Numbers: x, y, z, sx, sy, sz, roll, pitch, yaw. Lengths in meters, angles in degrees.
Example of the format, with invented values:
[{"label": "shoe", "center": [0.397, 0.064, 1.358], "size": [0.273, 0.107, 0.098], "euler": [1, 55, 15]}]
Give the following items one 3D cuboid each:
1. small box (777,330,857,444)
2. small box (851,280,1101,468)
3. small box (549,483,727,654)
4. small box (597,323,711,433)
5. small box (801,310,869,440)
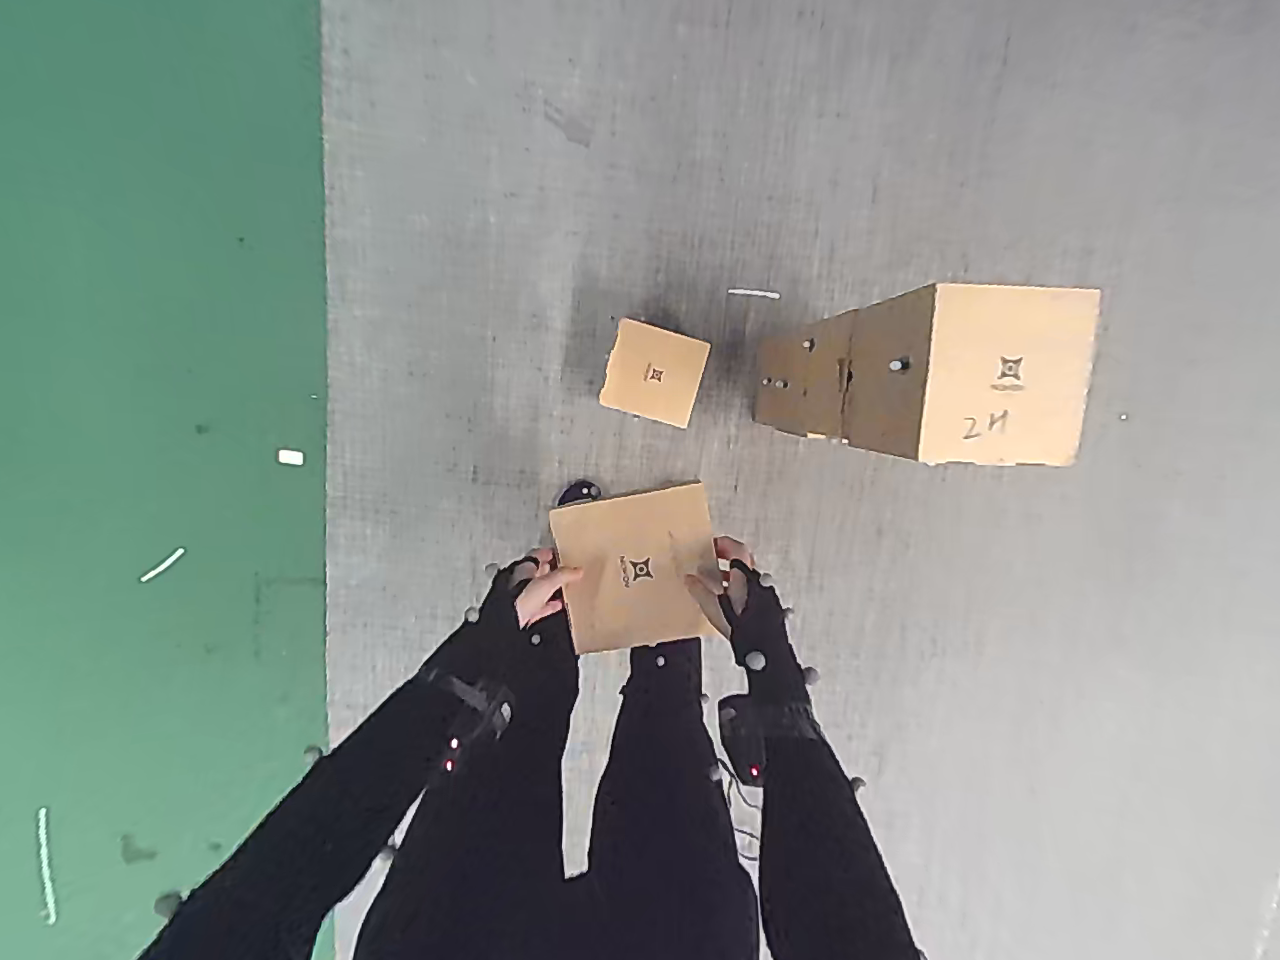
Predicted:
[{"label": "small box", "center": [0.343, -0.158, 0.928], "size": [0.168, 0.176, 0.179], "euler": [2, 100, -3]}, {"label": "small box", "center": [0.352, -0.111, 0.602], "size": [0.168, 0.176, 0.179], "euler": [2, 99, -2]}, {"label": "small box", "center": [0.004, 0.098, 0.666], "size": [0.179, 0.176, 0.168], "euler": [-10, 91, 4]}, {"label": "small box", "center": [0.024, -0.201, 1.074], "size": [0.179, 0.176, 0.168], "euler": [16, 99, -4]}, {"label": "small box", "center": [0.343, -0.138, 0.764], "size": [0.179, 0.176, 0.168], "euler": [2, 99, -4]}]
